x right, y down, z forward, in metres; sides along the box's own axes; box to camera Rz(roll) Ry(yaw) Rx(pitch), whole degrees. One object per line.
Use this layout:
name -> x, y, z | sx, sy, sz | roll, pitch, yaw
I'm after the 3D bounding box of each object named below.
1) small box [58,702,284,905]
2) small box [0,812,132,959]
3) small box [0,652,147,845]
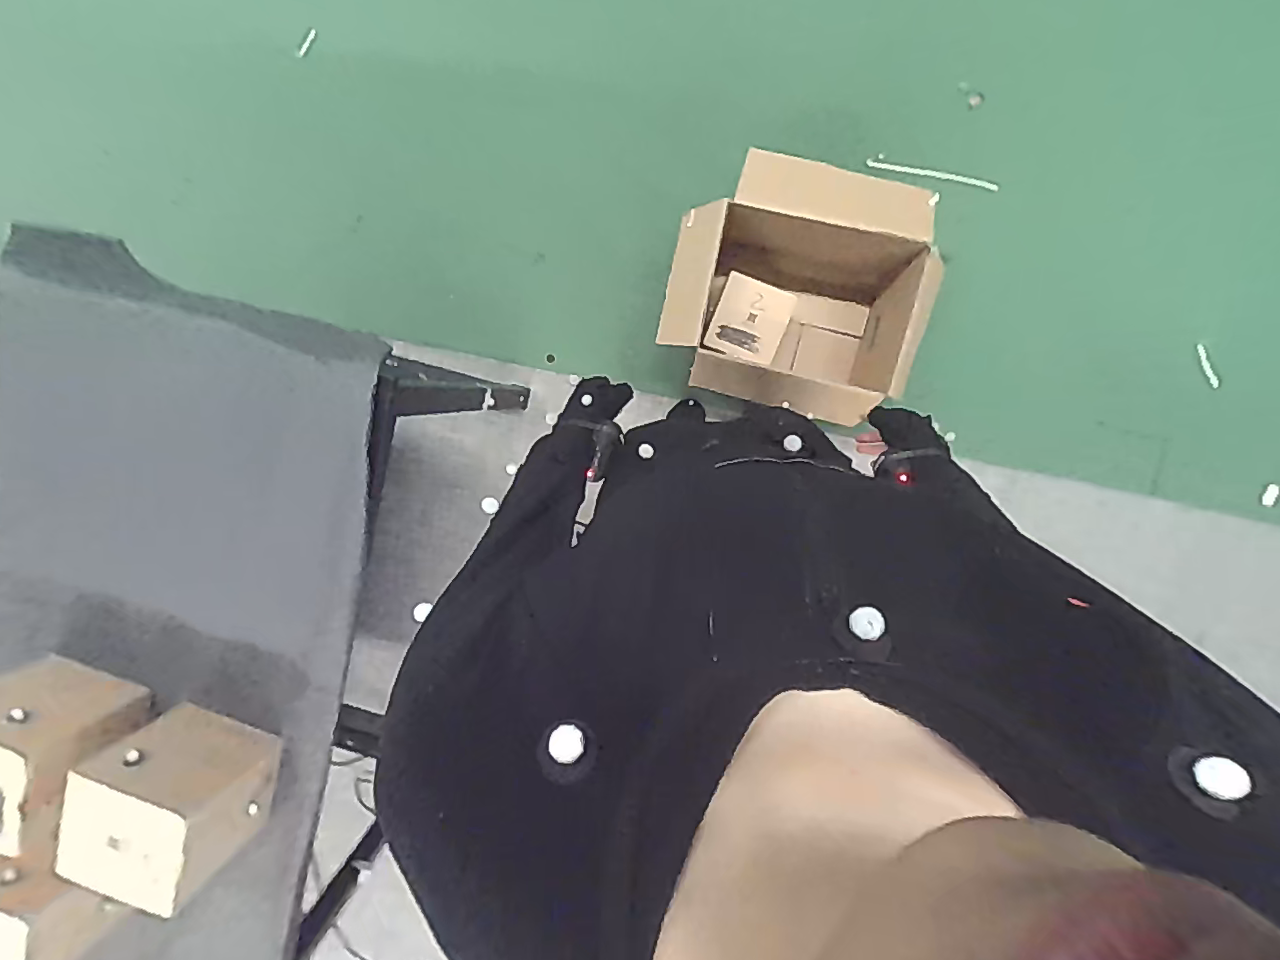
small box -> -0.675, 0.457, 0.794 | 0.179, 0.176, 0.168 | 18, 100, 2
small box -> -0.947, 0.640, 0.850 | 0.179, 0.176, 0.168 | 16, 100, 1
small box -> -0.893, 0.383, 0.802 | 0.179, 0.176, 0.168 | 19, 100, 1
